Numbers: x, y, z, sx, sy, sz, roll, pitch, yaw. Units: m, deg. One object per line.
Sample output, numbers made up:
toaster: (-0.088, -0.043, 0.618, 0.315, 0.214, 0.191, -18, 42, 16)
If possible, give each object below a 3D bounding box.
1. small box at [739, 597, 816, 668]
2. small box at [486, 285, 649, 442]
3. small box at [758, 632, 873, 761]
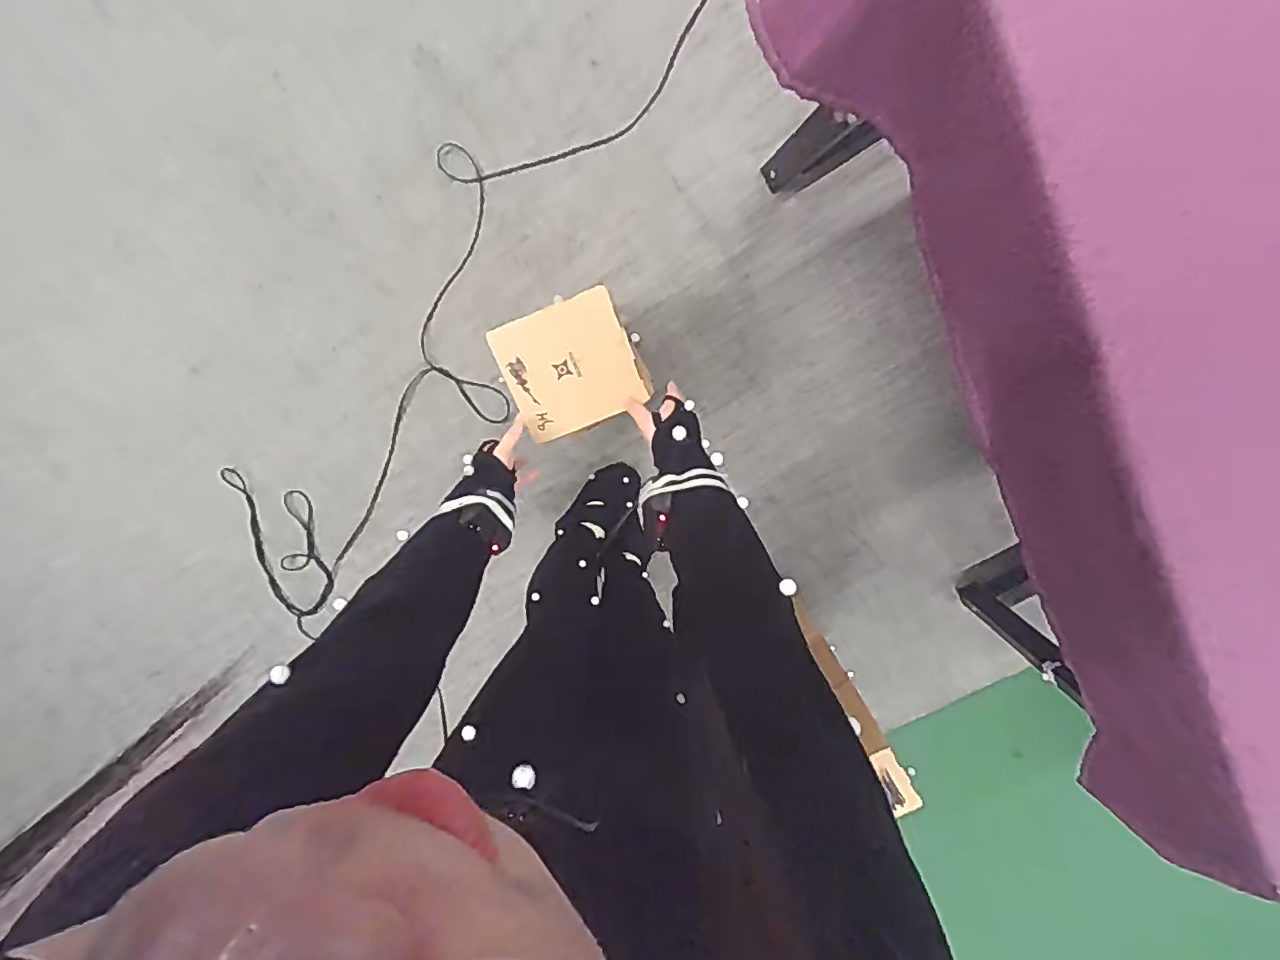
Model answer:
small box: (0.369, 0.419, 1.363, 0.168, 0.176, 0.179, -32, 107, 8)
small box: (-0.100, -0.178, 0.802, 0.179, 0.176, 0.168, -21, 107, 4)
small box: (0.381, 0.478, 1.211, 0.179, 0.176, 0.168, -29, 108, 7)
